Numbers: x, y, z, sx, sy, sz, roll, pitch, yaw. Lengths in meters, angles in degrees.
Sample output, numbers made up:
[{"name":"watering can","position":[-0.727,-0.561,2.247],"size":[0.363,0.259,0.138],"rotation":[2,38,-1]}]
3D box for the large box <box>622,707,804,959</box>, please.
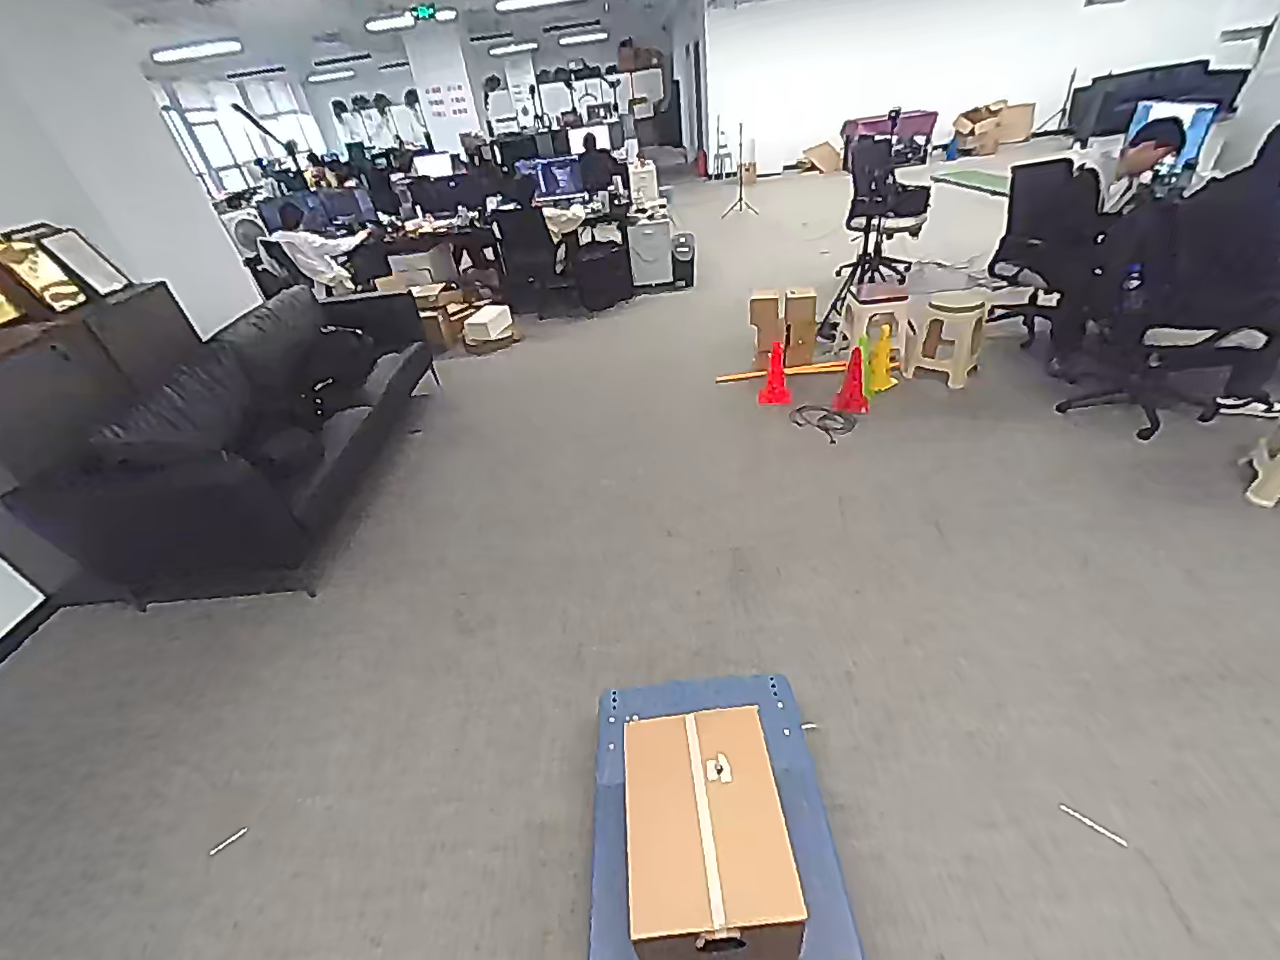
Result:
[{"name":"large box","position":[0.145,0.787,1.194],"size":[0.320,0.320,0.408],"rotation":[-8,36,1]}]
